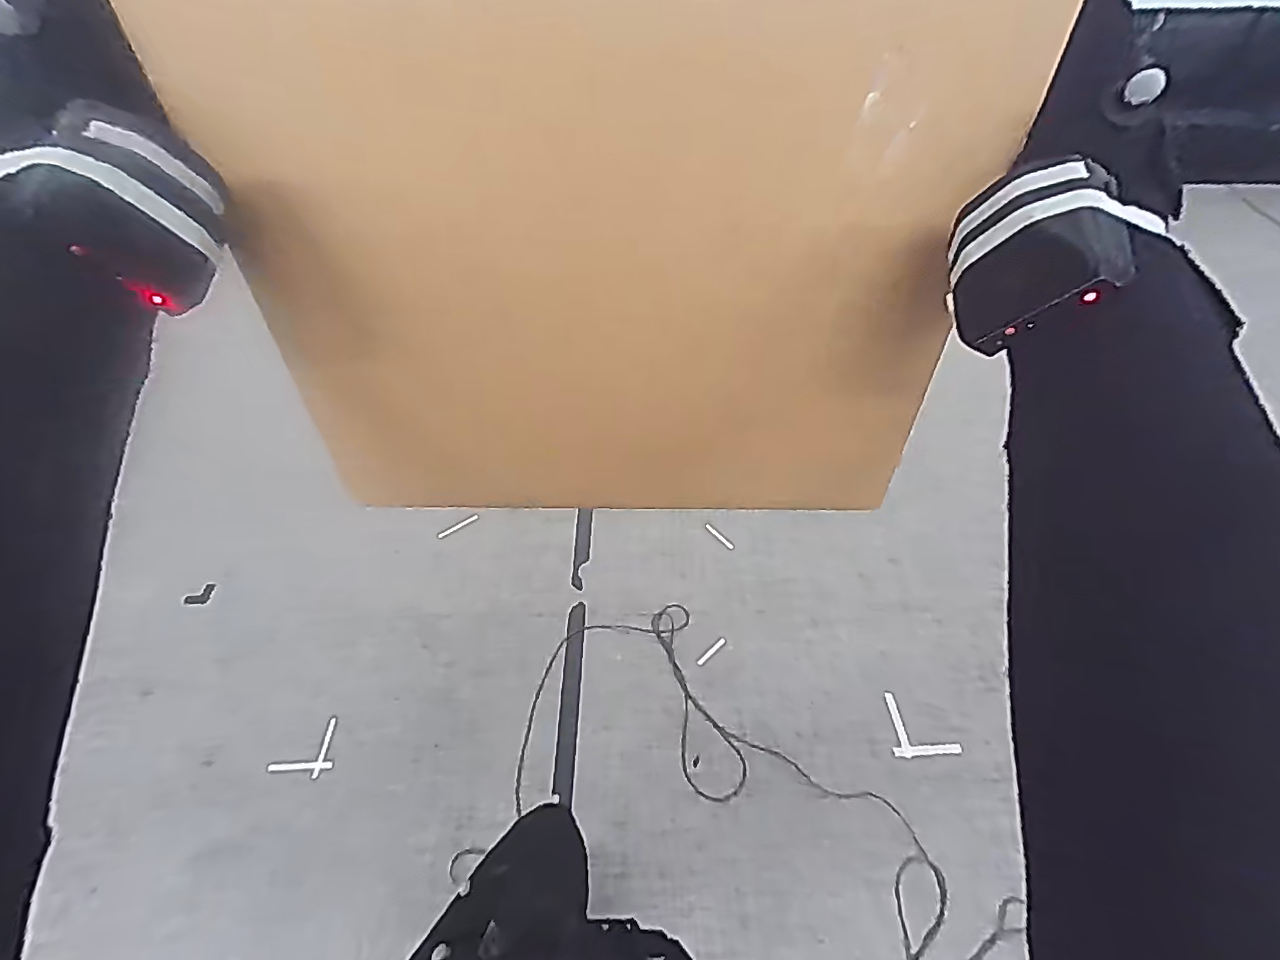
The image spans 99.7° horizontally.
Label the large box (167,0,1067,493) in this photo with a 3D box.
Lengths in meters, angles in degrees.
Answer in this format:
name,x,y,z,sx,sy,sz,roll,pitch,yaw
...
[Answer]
name,x,y,z,sx,sy,sz,roll,pitch,yaw
large box,-0.014,-0.199,0.433,0.408,0.320,0.320,1,41,0
